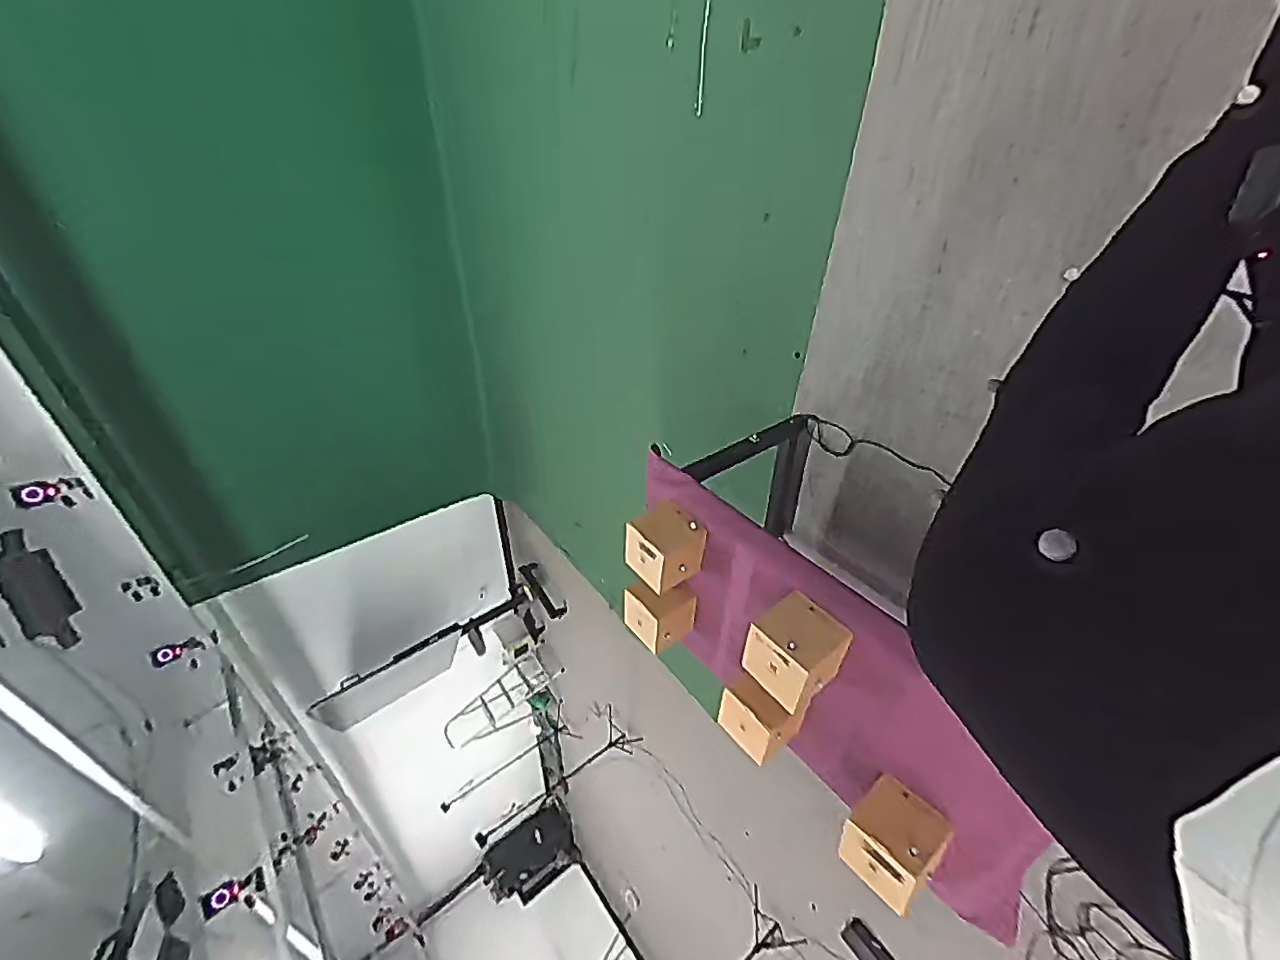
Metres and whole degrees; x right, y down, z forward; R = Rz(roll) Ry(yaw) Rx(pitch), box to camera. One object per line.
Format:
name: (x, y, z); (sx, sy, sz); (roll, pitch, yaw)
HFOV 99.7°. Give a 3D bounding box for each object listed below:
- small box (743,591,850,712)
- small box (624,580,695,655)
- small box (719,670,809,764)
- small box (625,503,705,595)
small box: (0.373, 0.404, 1.290); (0.168, 0.176, 0.179); (38, 141, 37)
small box: (0.064, 0.426, 1.770); (0.168, 0.176, 0.179); (37, 138, 37)
small box: (0.344, 0.635, 1.501); (0.168, 0.176, 0.179); (37, 138, 38)
small box: (0.073, 0.196, 1.591); (0.168, 0.176, 0.179); (39, 143, 34)
